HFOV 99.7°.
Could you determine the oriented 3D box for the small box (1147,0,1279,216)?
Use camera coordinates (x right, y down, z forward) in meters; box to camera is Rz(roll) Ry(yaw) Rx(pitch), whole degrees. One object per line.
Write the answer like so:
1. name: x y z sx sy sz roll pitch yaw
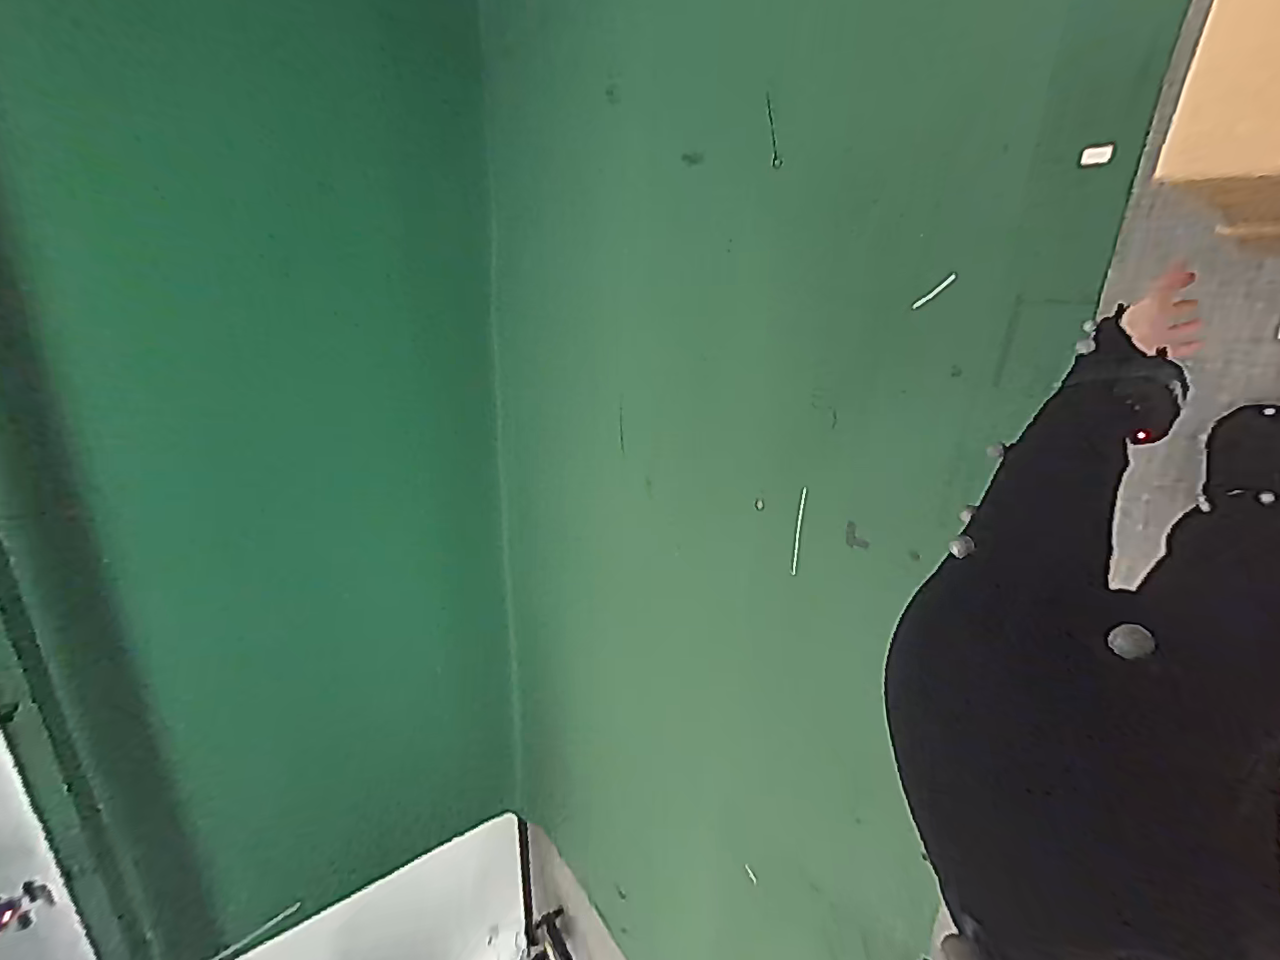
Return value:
1. small box: 0.367 -0.211 0.221 0.179 0.176 0.168 26 119 46
